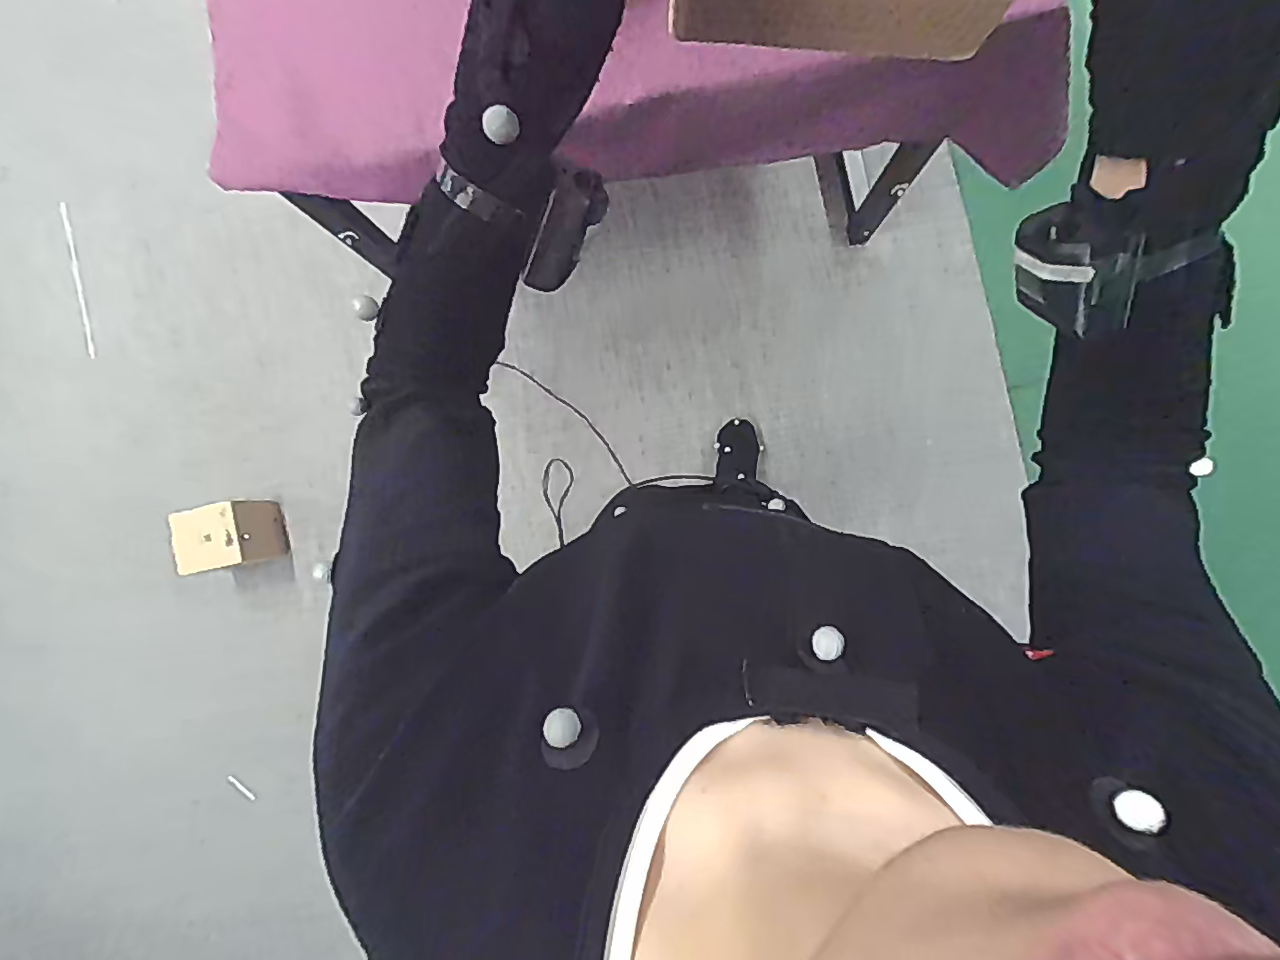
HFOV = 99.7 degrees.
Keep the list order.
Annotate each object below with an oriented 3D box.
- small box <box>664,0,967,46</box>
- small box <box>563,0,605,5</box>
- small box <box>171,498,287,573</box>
[{"bbox_3d":[0.101,-0.332,0.230,0.179,0.176,0.168,4,92,0],"label":"small box"},{"bbox_3d":[-0.057,-0.780,0.713,0.168,0.176,0.179,-9,87,3],"label":"small box"},{"bbox_3d":[-1.107,0.148,1.466,0.179,0.176,0.168,-12,87,3],"label":"small box"}]
